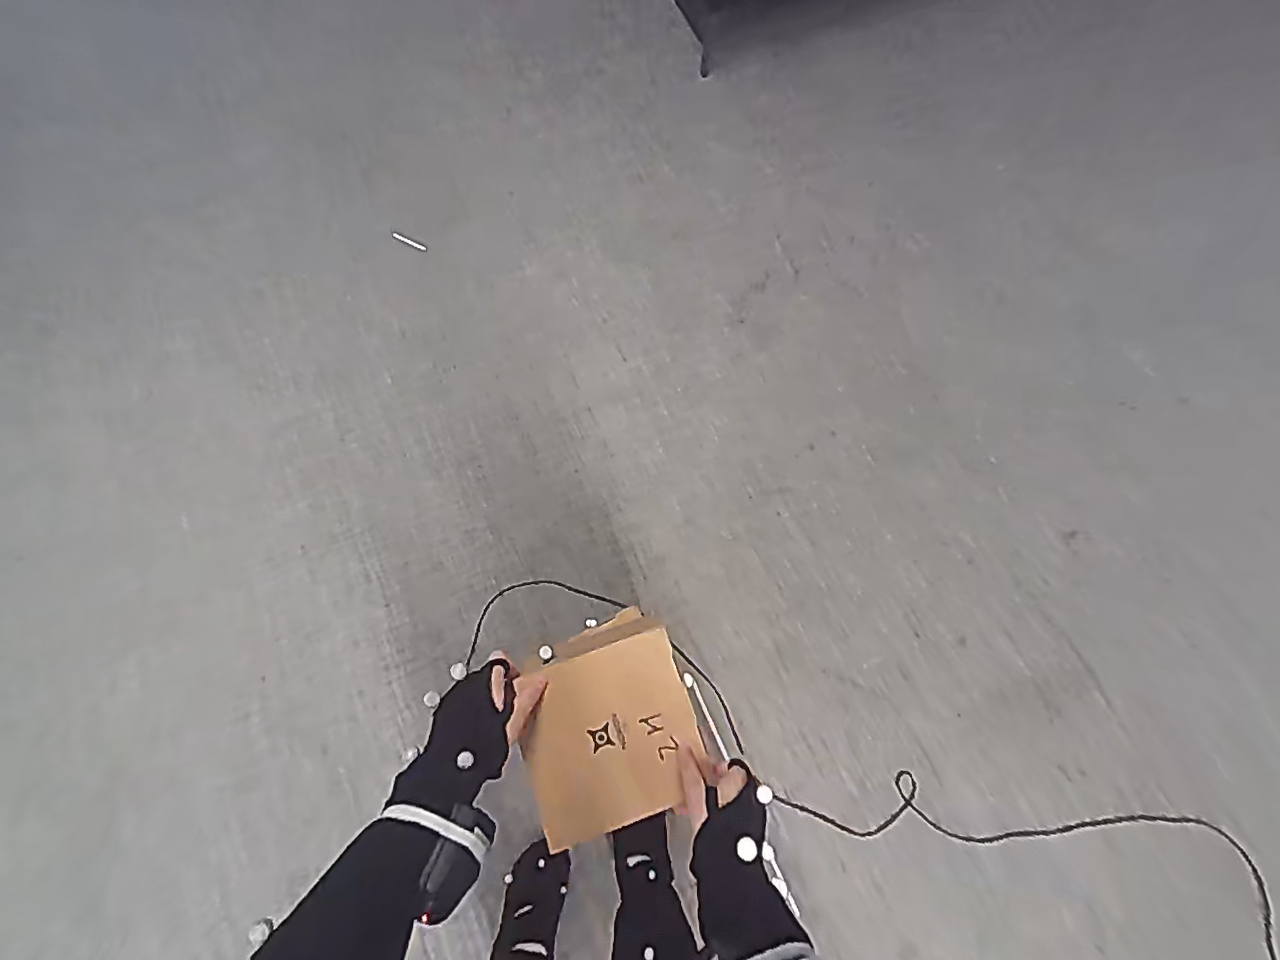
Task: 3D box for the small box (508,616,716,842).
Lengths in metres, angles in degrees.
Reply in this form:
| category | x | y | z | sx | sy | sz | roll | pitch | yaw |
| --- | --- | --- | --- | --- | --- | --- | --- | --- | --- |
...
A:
| category | x | y | z | sx | sy | sz | roll | pitch | yaw |
| --- | --- | --- | --- | --- | --- | --- | --- | --- | --- |
| small box | -0.031 | 0.267 | 0.625 | 0.179 | 0.176 | 0.168 | -19 | 82 | -5 |
